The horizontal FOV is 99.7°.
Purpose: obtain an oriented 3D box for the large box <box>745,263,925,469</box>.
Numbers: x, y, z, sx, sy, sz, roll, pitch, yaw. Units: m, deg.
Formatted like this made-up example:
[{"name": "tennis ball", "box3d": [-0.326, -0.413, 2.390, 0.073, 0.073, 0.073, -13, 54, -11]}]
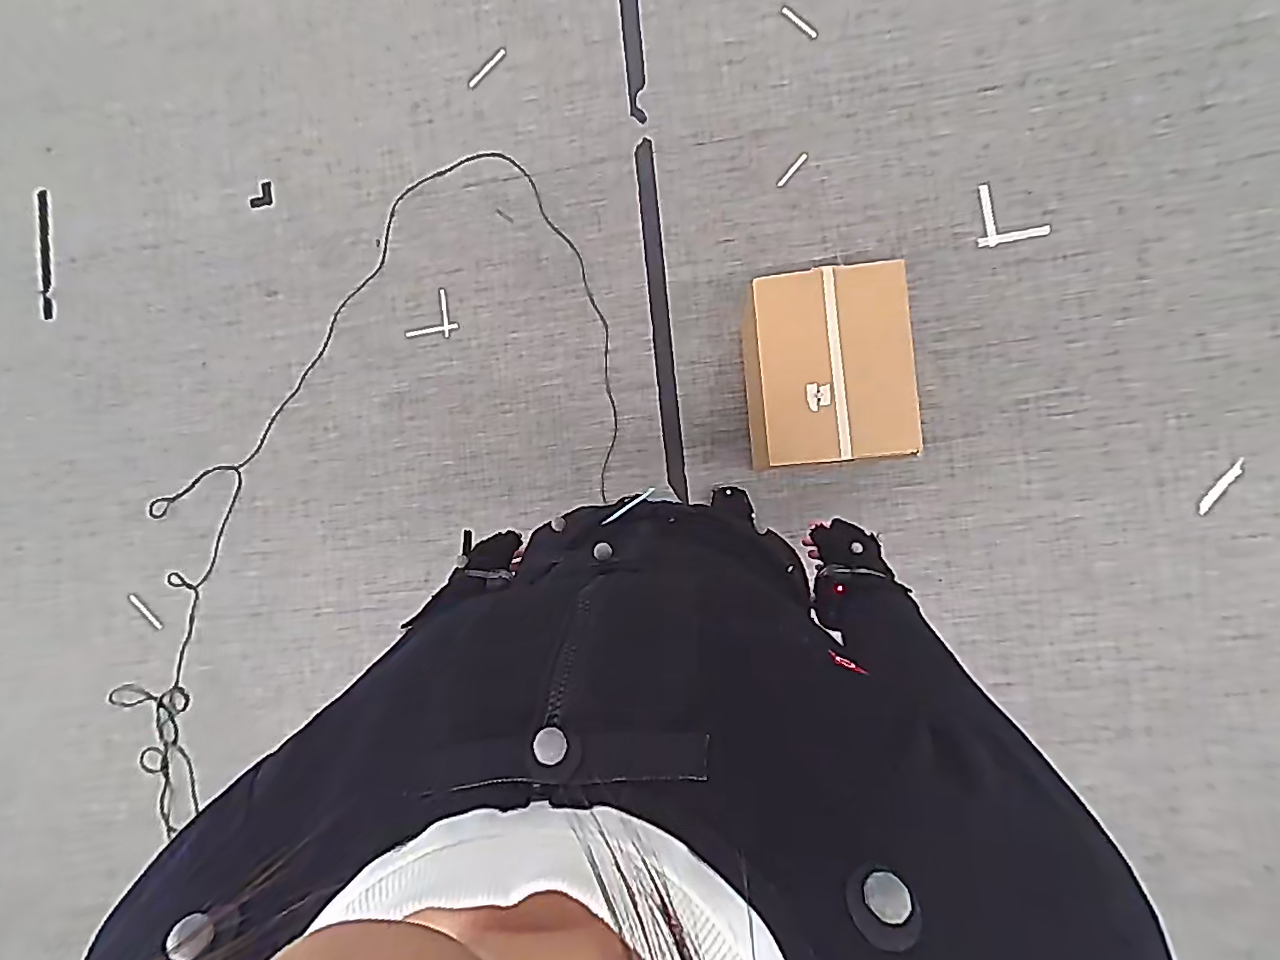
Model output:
[{"name": "large box", "box3d": [0.433, -0.241, 1.278, 0.320, 0.320, 0.408, -5, 89, 7]}]
